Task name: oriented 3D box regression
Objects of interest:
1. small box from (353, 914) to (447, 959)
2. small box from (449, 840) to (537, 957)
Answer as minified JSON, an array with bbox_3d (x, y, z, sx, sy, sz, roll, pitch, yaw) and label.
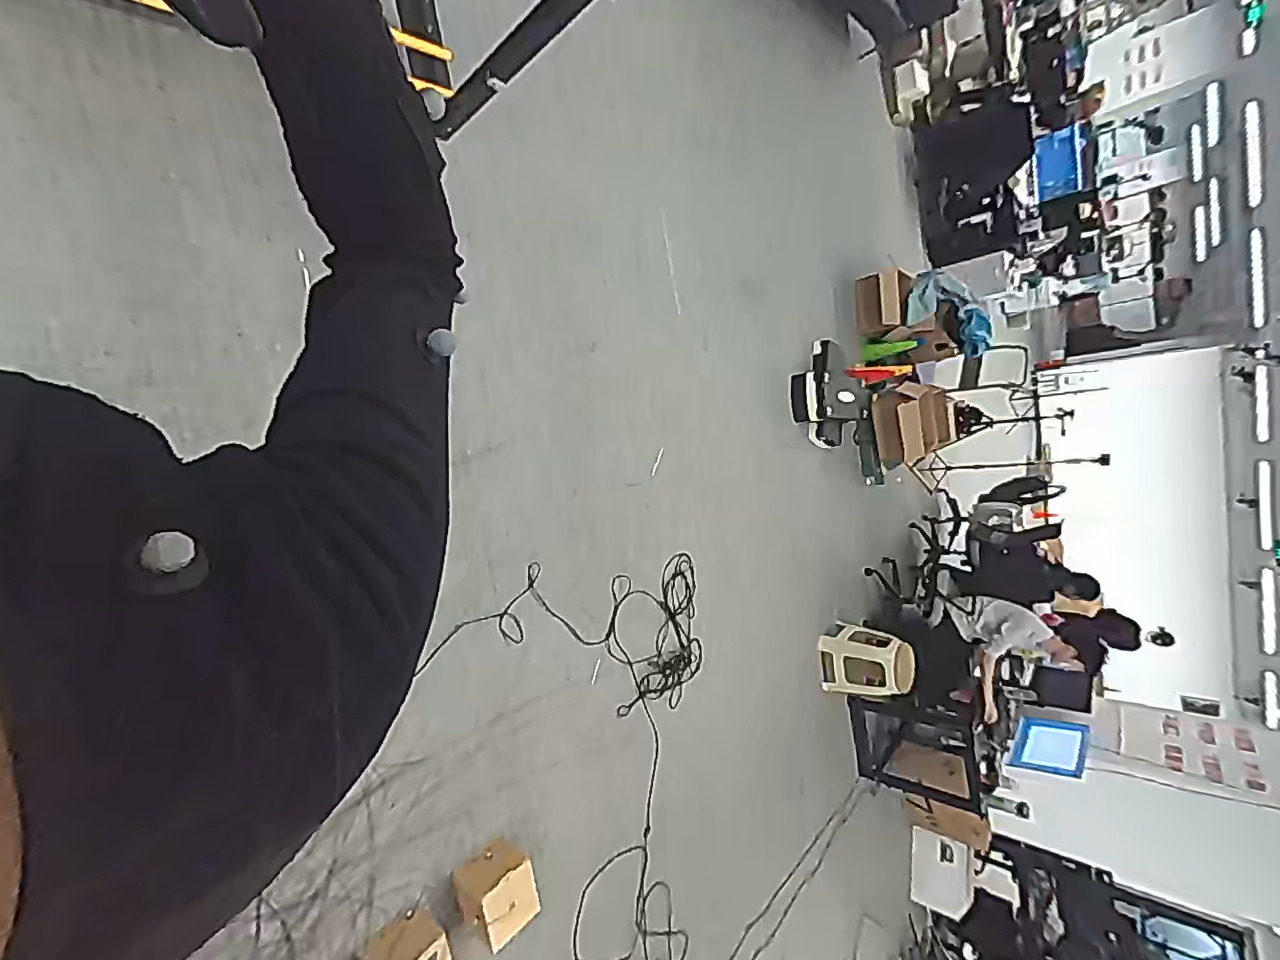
[{"bbox_3d":[-0.600,1.254,1.368,0.168,0.176,0.179,-17,101,-47],"label":"small box"},{"bbox_3d":[-0.427,1.197,1.562,0.168,0.176,0.179,-17,99,-47],"label":"small box"}]
